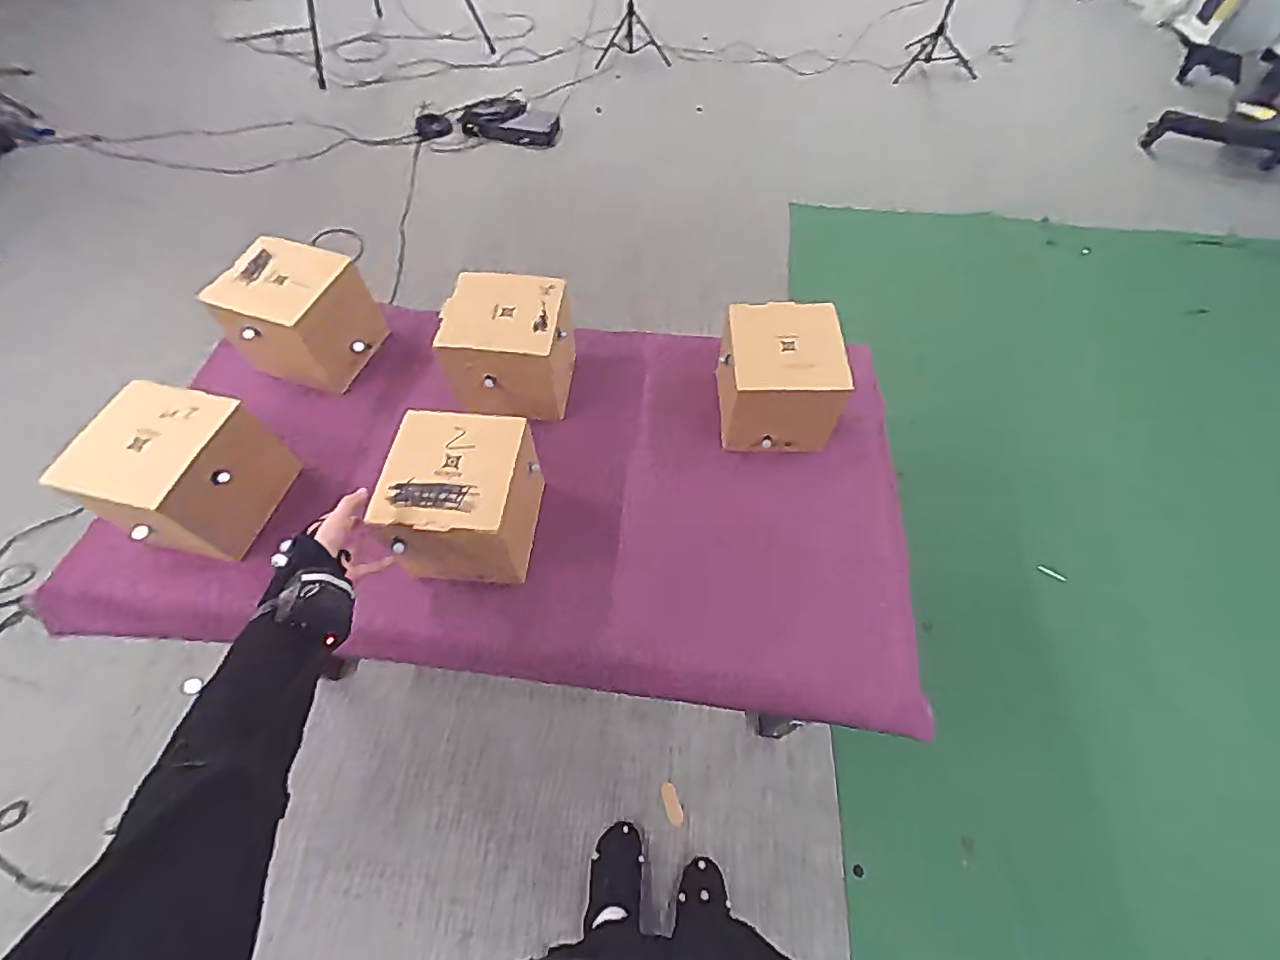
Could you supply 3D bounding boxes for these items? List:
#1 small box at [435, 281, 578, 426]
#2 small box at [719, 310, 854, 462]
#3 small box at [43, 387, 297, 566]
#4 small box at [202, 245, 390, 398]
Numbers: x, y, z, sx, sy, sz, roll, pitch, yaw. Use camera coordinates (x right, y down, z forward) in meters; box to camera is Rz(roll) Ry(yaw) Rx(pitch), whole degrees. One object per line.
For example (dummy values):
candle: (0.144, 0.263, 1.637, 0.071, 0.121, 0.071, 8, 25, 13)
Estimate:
small box: (-0.208, -0.204, 0.897, 0.179, 0.176, 0.168, 4, 60, 3)
small box: (0.221, -0.148, 0.869, 0.168, 0.176, 0.179, 0, 60, 1)
small box: (-0.633, 0.002, 0.761, 0.168, 0.176, 0.179, 12, 59, 6)
small box: (-0.572, -0.266, 0.926, 0.179, 0.176, 0.168, 16, 61, 7)
